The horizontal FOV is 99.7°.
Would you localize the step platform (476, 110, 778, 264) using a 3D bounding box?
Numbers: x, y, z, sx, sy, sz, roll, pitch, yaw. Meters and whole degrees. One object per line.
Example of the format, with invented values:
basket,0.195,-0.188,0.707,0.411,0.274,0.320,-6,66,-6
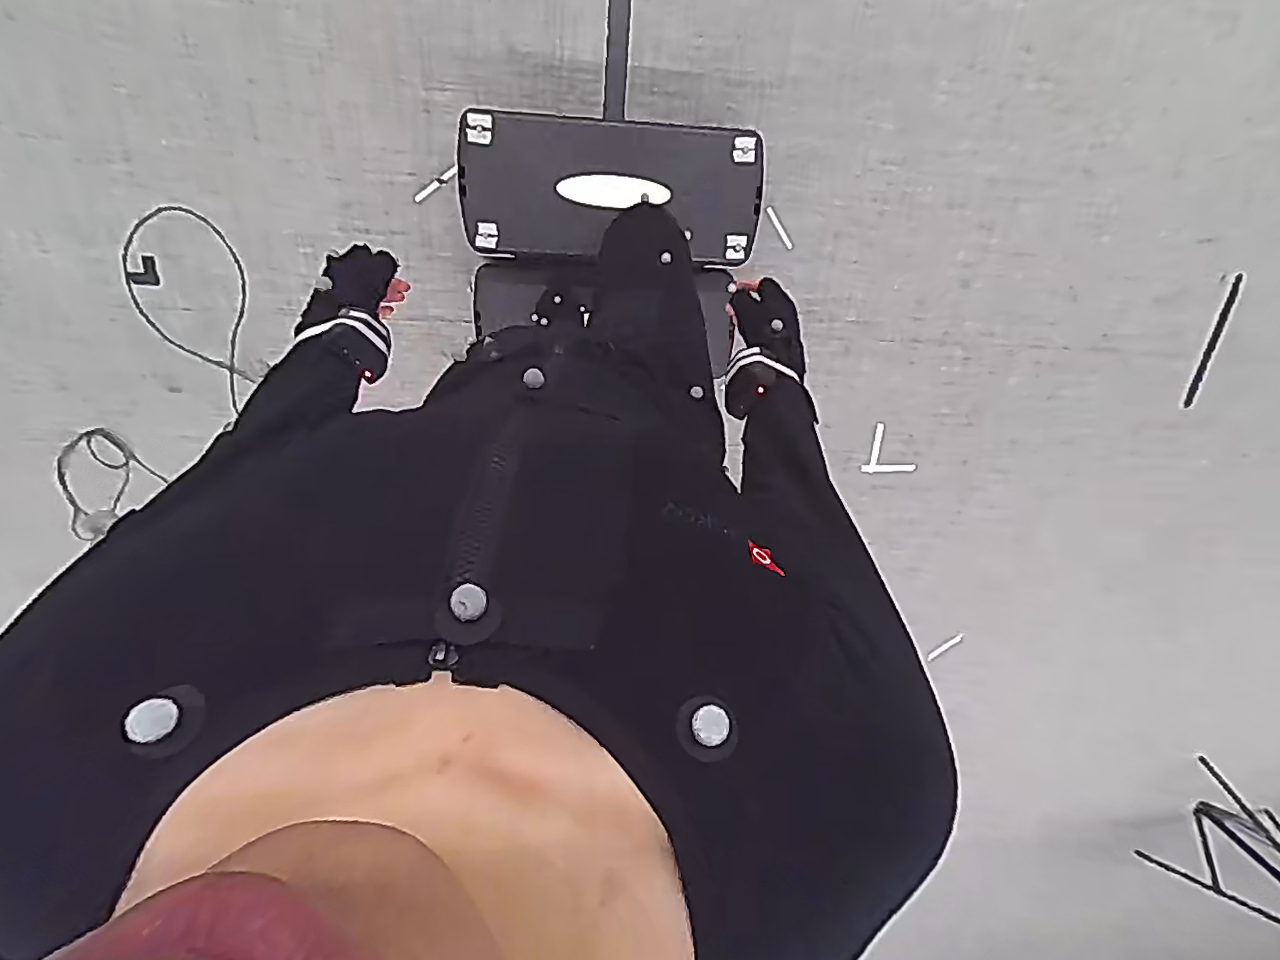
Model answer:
step platform,-0.029,-0.670,1.267,0.684,0.204,0.286,0,112,-6
